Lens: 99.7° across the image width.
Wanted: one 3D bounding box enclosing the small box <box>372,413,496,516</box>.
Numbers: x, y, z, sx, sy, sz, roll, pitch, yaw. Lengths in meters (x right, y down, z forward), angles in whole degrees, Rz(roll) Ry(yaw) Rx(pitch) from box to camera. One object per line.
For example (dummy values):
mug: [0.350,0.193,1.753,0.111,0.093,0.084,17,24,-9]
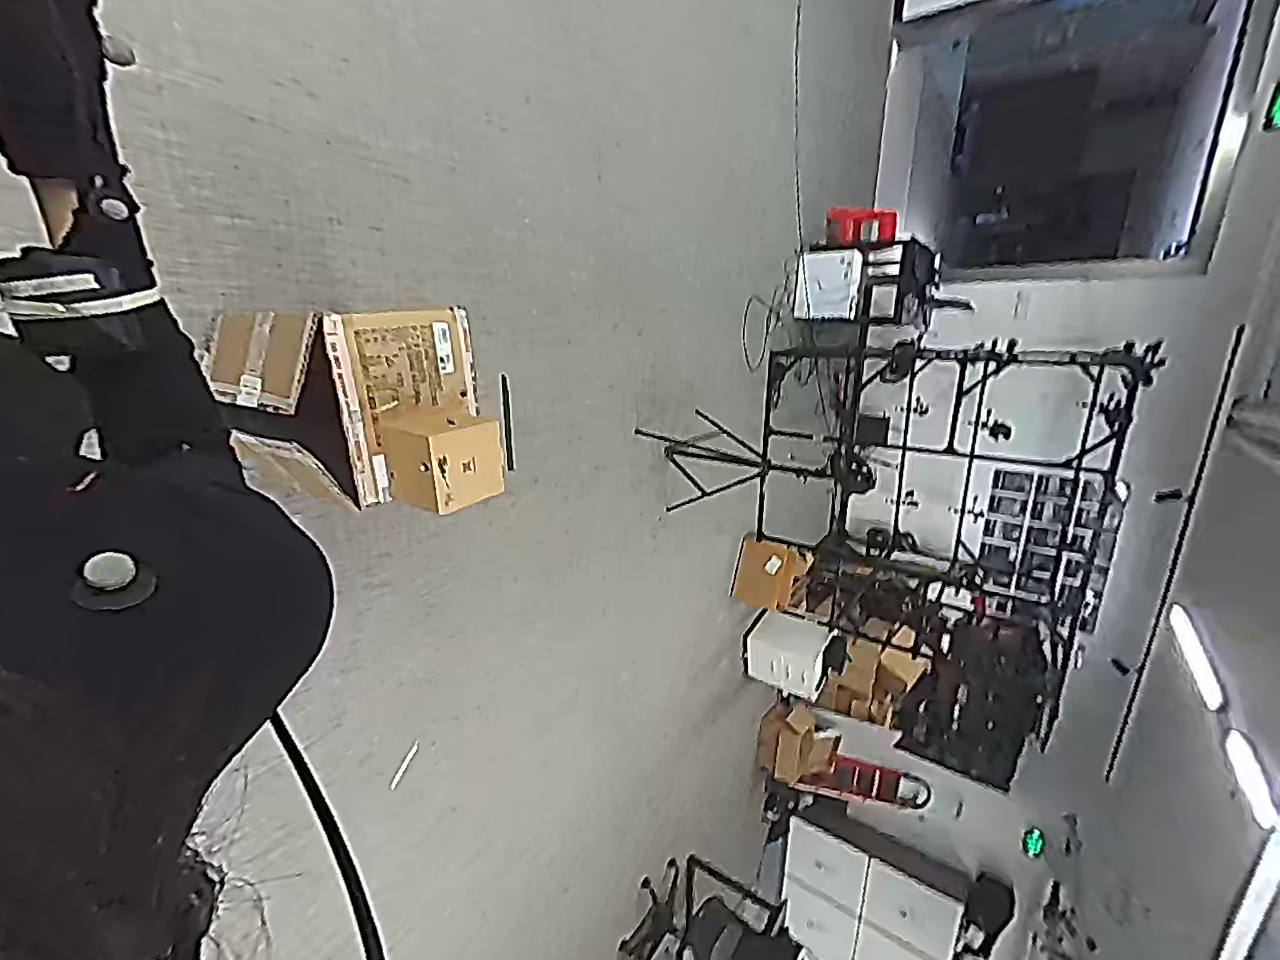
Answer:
small box: [-0.430,-0.041,1.142,0.179,0.176,0.168,-26,122,-53]
